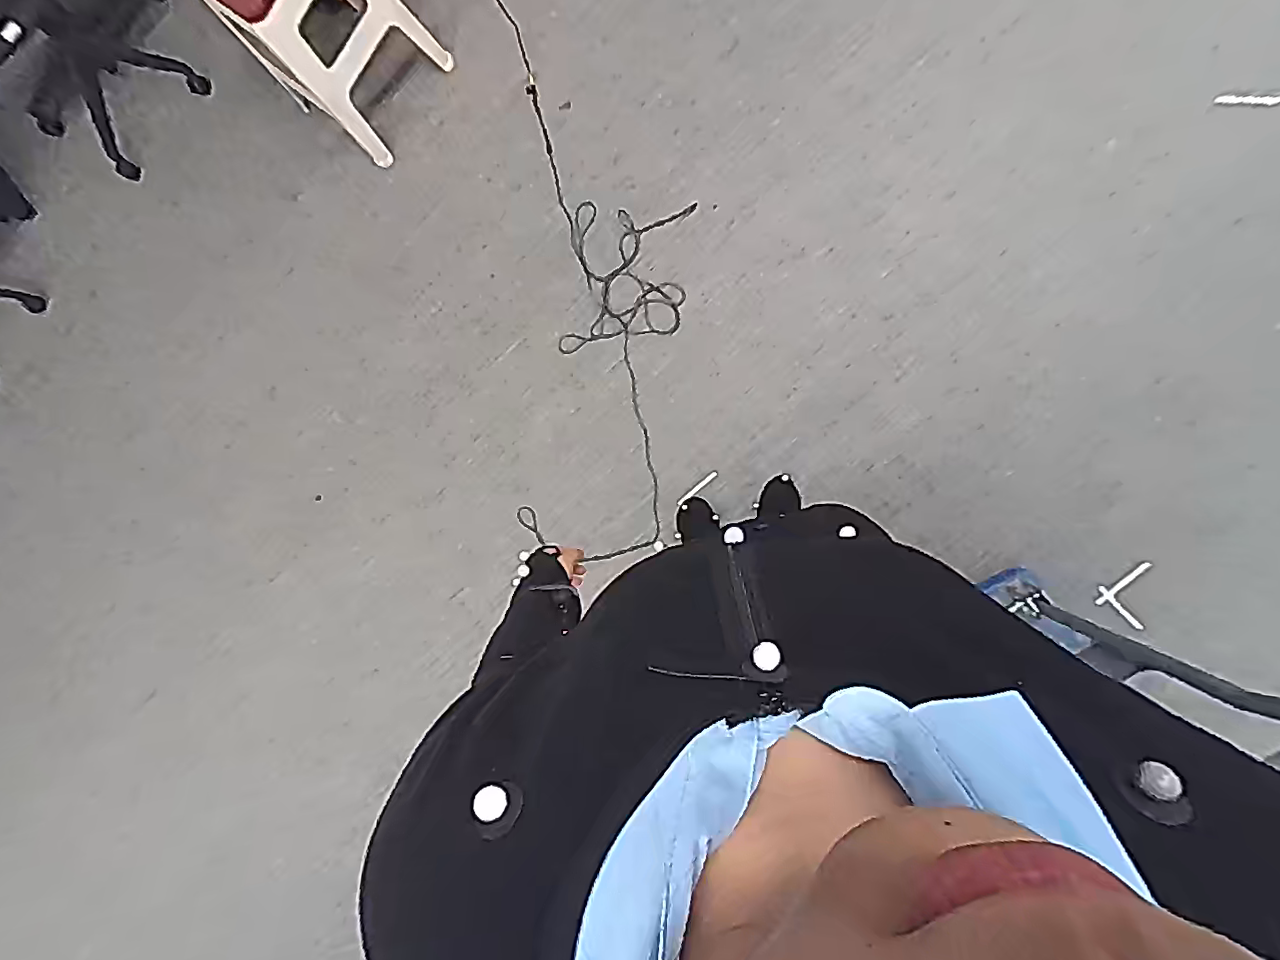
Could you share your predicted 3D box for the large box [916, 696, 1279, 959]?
[{"bbox_3d":[0.863,0.714,1.084,0.408,0.320,0.320,-33,86,7],"label":"large box"}]
